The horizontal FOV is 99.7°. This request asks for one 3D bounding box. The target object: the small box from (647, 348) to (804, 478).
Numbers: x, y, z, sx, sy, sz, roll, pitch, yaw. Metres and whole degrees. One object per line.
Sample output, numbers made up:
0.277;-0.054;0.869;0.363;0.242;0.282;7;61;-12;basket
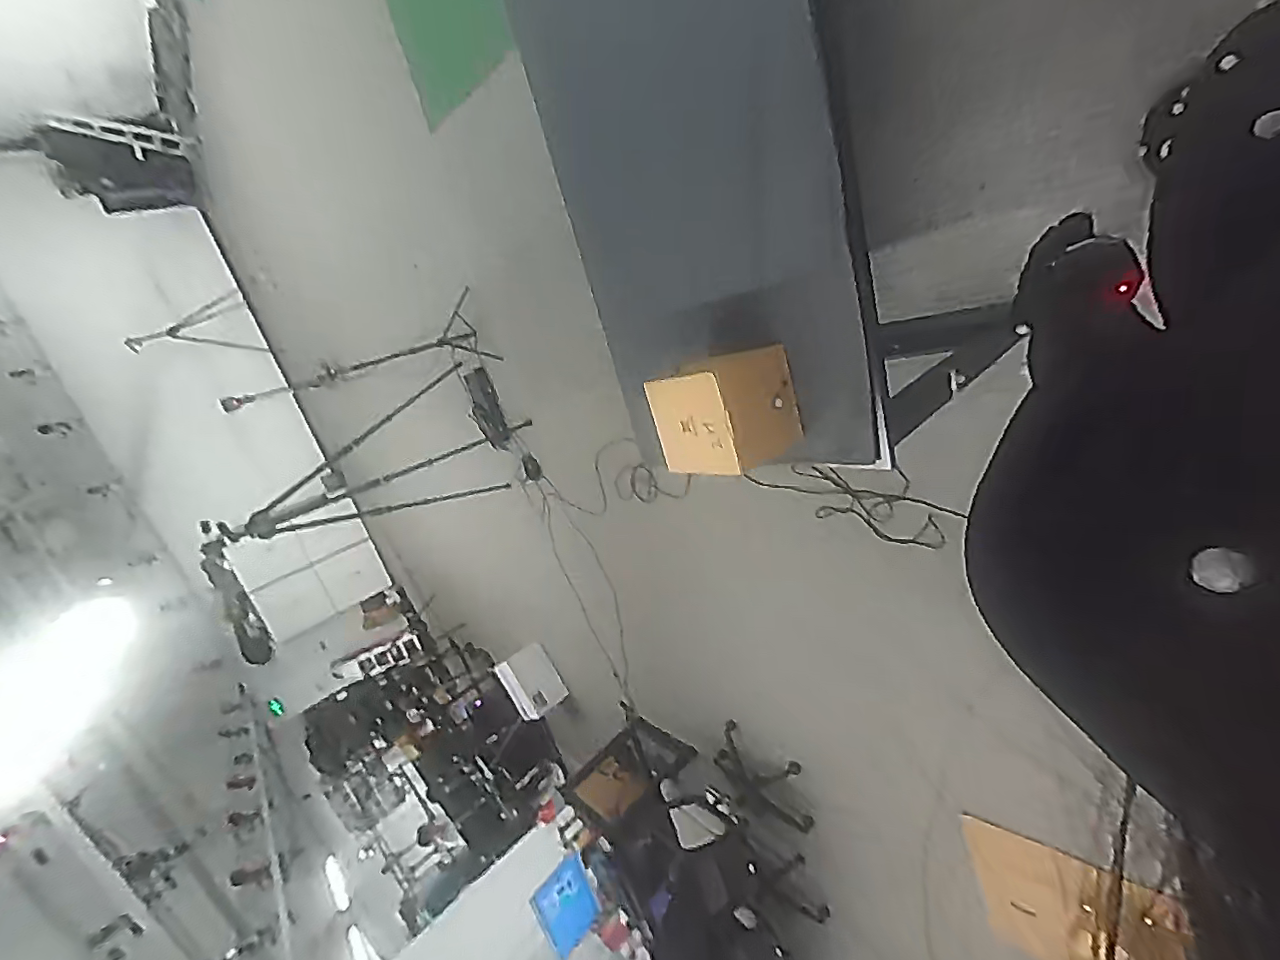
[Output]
0.146;-0.113;0.917;0.179;0.176;0.168;3;115;53;small box
